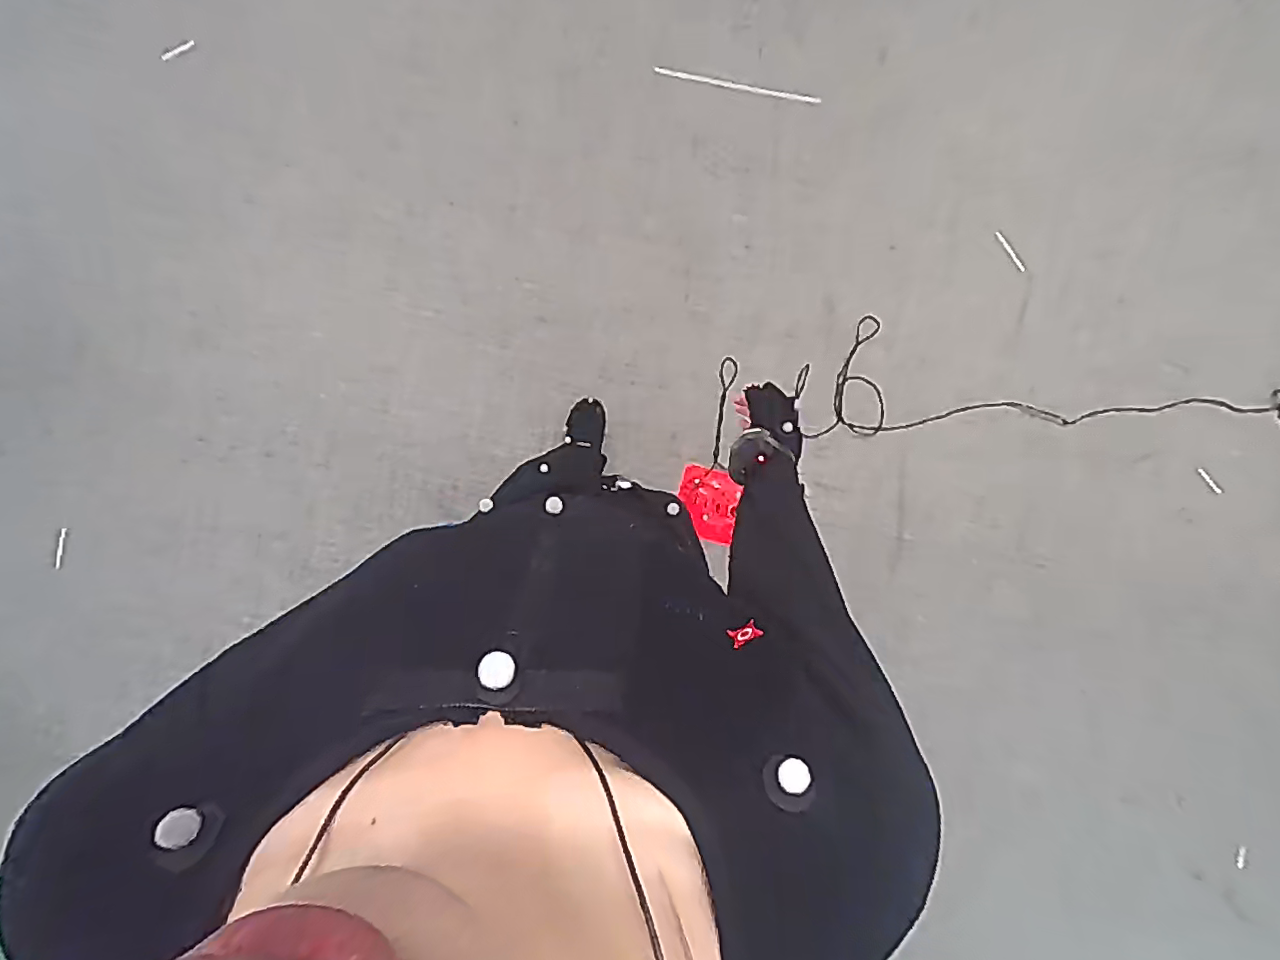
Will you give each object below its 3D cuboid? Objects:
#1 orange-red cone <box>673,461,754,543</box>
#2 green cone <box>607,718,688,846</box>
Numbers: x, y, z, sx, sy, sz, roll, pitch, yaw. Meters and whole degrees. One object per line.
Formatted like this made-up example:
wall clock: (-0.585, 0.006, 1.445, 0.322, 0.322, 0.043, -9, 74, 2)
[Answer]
orange-red cone: (0.206, 0.064, 1.344, 0.198, 0.360, 0.199, 15, 91, 0)
green cone: (0.027, 0.774, 1.335, 0.200, 0.368, 0.202, 13, 89, -2)
